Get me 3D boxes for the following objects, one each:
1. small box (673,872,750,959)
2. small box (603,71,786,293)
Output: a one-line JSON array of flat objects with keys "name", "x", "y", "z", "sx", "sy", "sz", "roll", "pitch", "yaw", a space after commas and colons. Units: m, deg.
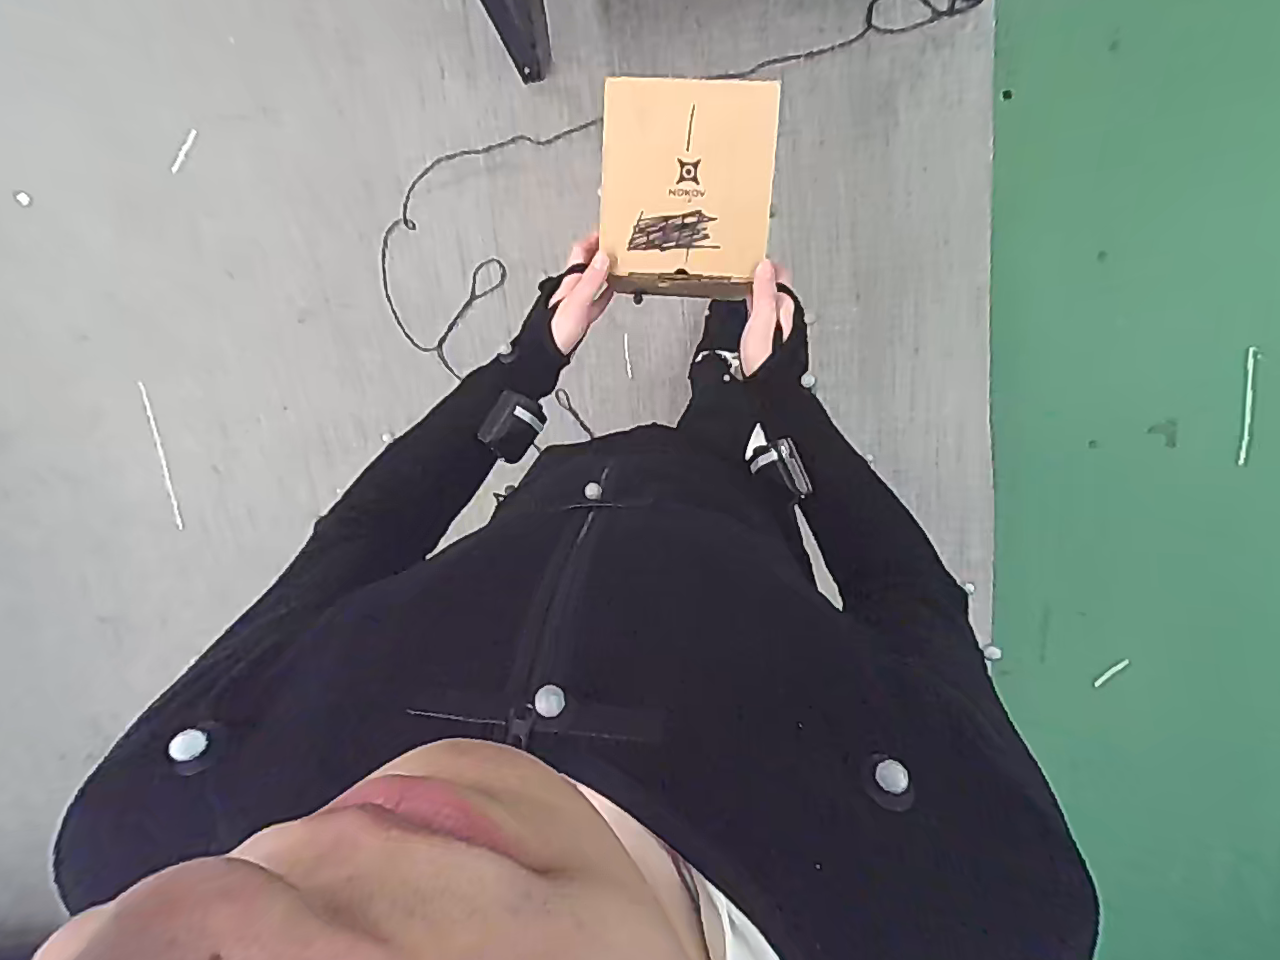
[{"name": "small box", "x": 0.171, "y": 1.082, "z": 1.285, "sx": 0.168, "sy": 0.176, "sz": 0.179, "roll": -8, "pitch": 101, "yaw": 5}, {"name": "small box", "x": 0.053, "y": -0.305, "z": 0.591, "sx": 0.168, "sy": 0.176, "sz": 0.179, "roll": 3, "pitch": 102, "yaw": 2}]
